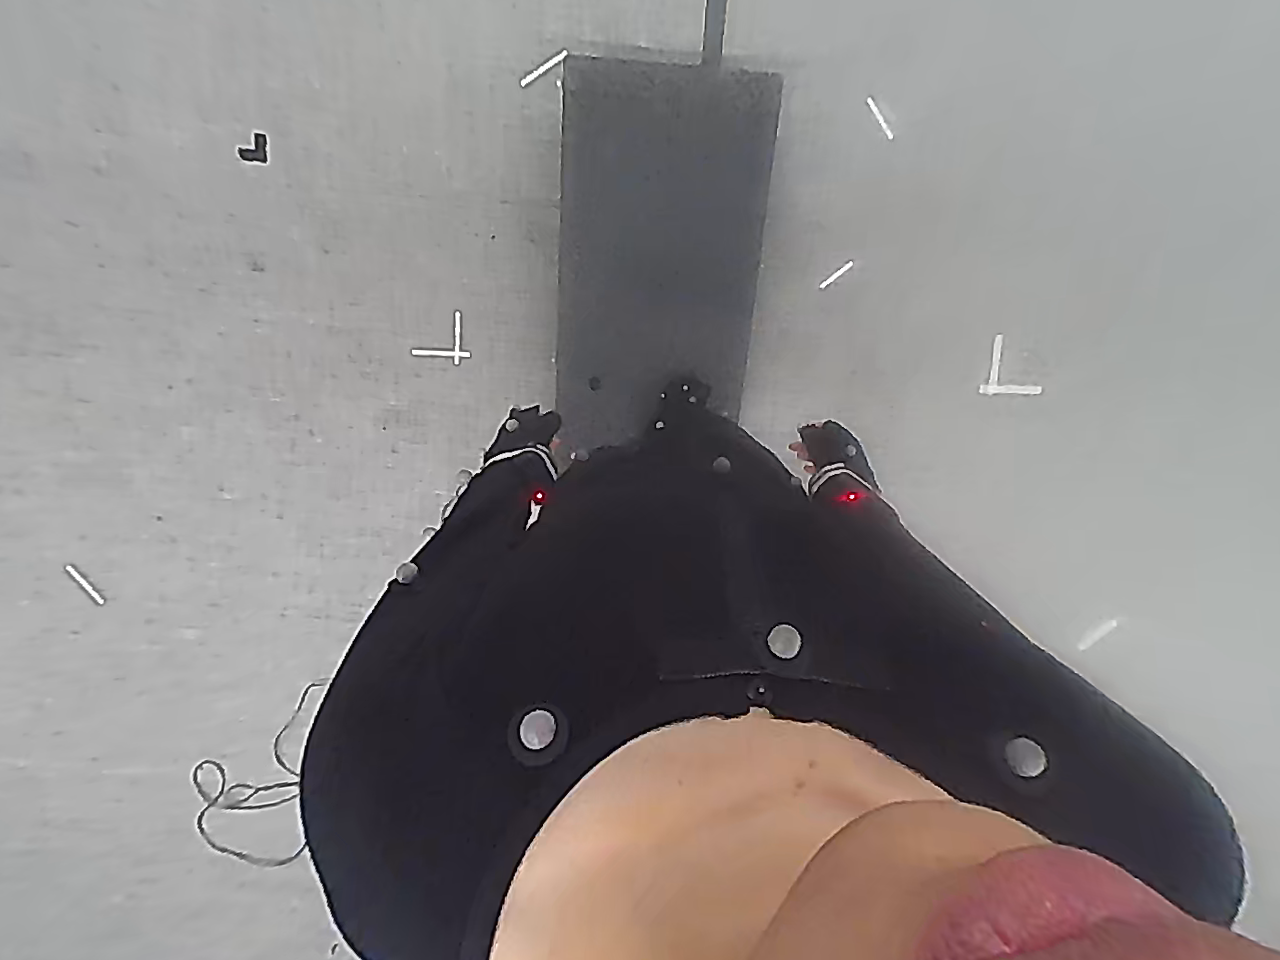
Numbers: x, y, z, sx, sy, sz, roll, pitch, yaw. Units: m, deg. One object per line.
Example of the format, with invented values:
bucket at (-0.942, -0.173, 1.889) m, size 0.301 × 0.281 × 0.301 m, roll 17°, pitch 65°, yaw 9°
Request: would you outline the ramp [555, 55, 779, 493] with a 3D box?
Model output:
ramp at (0.039, -0.447, 1.349) m, size 0.509 × 0.206 × 0.991 m, roll 2°, pitch 99°, yaw -3°
